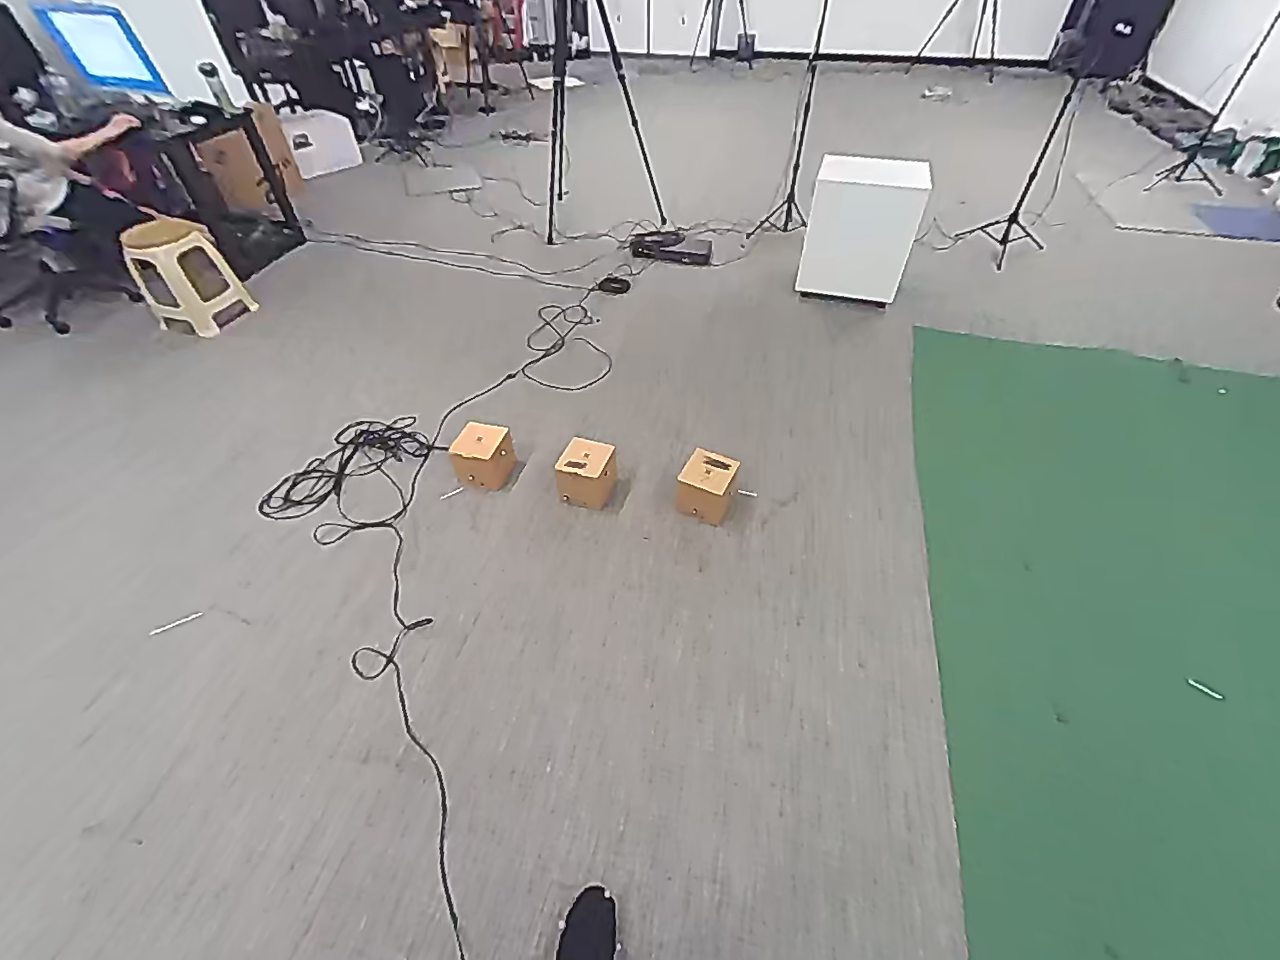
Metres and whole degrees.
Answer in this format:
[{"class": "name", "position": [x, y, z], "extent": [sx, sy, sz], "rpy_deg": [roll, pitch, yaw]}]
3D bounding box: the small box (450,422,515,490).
[{"class": "small box", "position": [-0.582, -0.090, 2.026], "extent": [0.168, 0.176, 0.179], "rpy_deg": [10, 48, 11]}]

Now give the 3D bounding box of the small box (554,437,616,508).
[{"class": "small box", "position": [-0.191, -0.024, 1.953], "extent": [0.168, 0.176, 0.179], "rpy_deg": [14, 48, 14]}]
